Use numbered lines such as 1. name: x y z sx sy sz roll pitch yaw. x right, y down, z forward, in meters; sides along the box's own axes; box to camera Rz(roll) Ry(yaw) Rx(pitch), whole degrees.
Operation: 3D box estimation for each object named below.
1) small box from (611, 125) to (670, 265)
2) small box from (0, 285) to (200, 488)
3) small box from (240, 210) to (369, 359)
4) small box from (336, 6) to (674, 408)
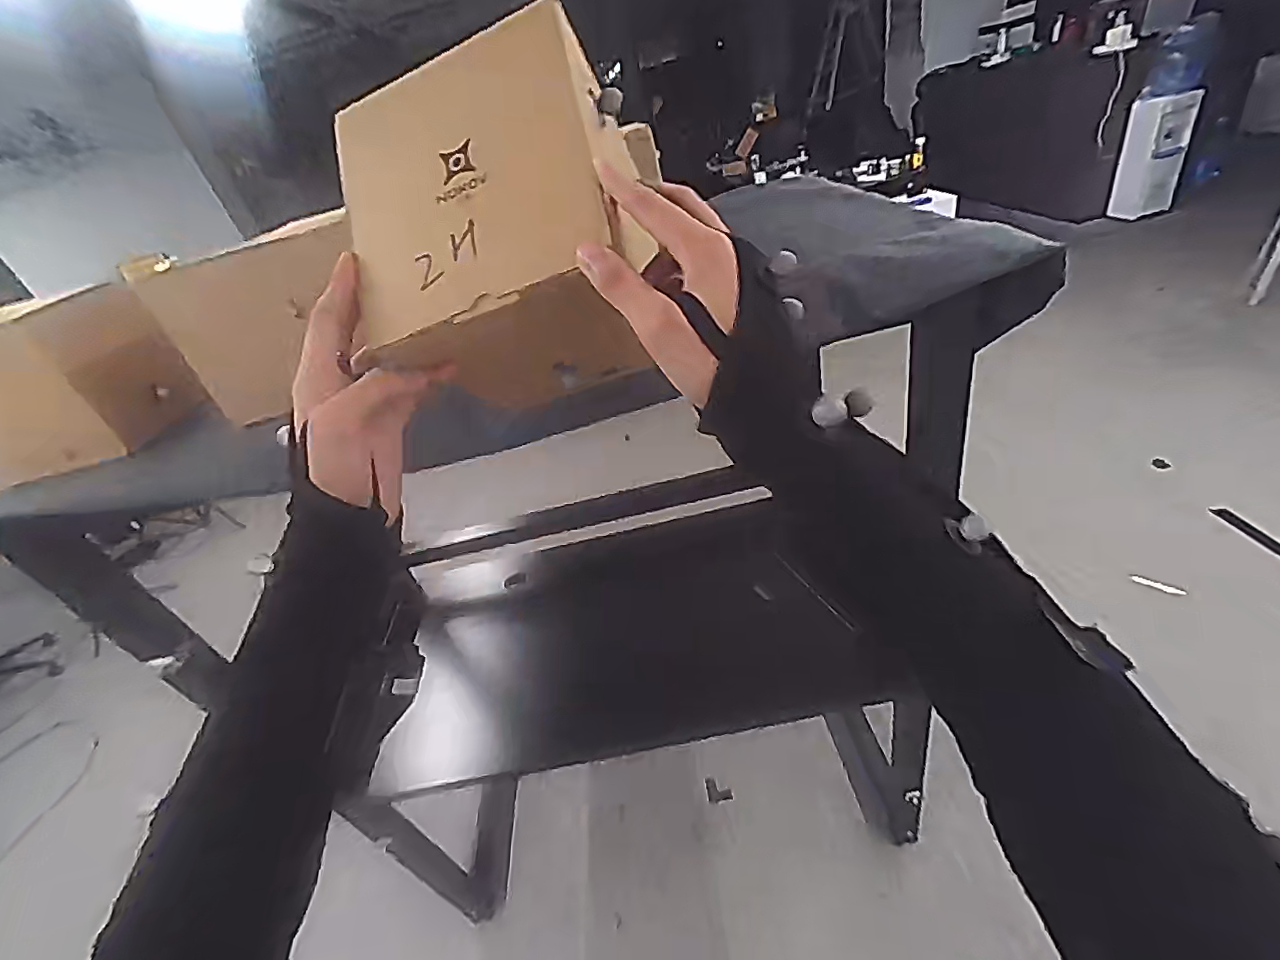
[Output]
1. small box: -0.058 -0.405 0.804 0.168 0.176 0.179 -14 35 2
2. small box: -0.697 -0.116 0.660 0.168 0.176 0.179 -15 34 2
3. small box: -0.446 -0.310 0.836 0.179 0.176 0.168 -13 35 5
4. small box: -0.086 -0.172 0.403 0.168 0.179 0.176 -16 -10 15
